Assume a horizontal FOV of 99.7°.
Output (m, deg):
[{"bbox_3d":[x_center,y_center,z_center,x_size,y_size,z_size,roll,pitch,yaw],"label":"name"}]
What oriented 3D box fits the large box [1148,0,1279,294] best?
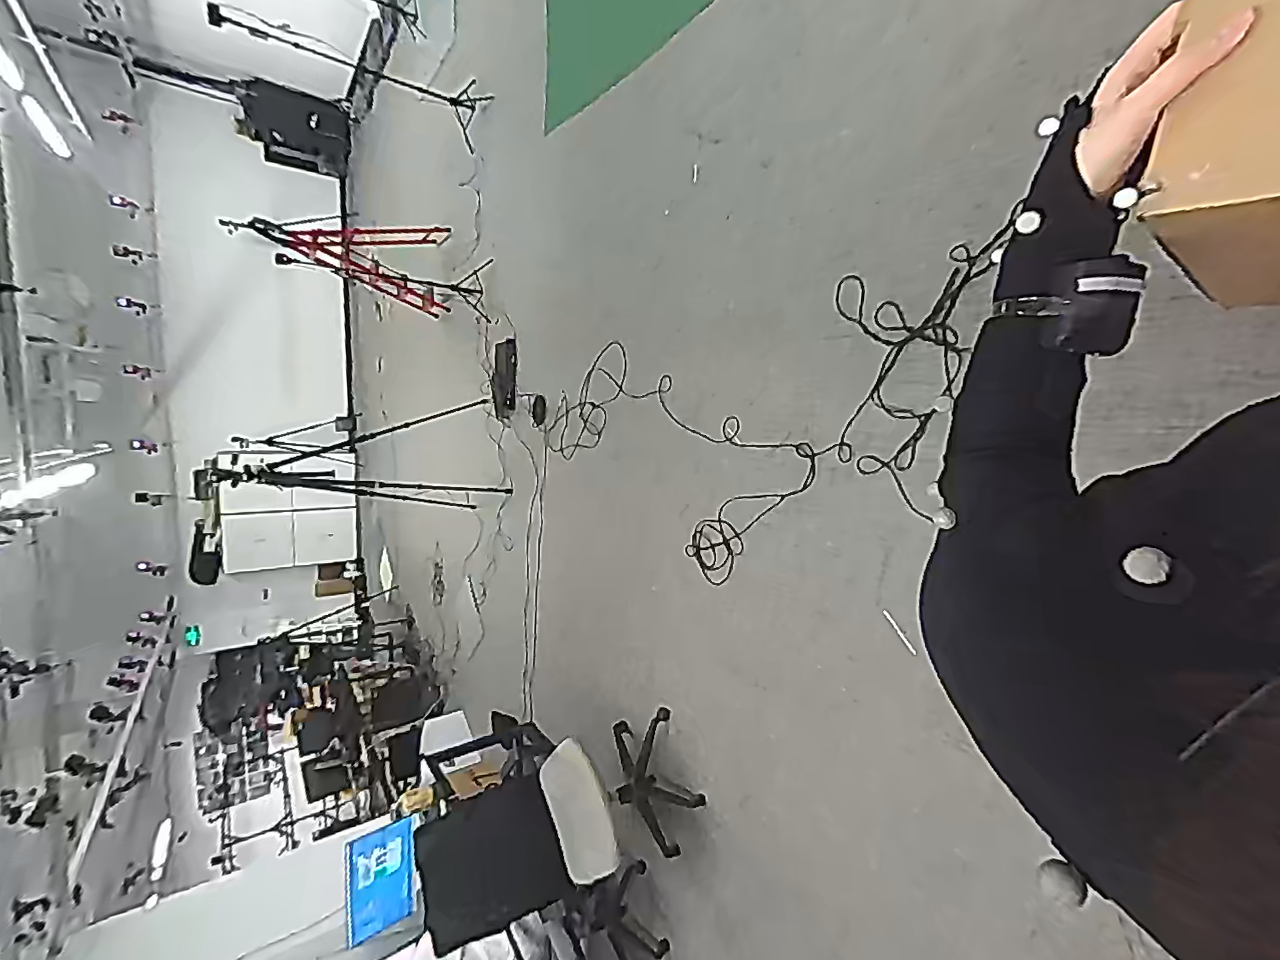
[{"bbox_3d":[0.602,-0.296,0.277,0.408,0.320,0.320,19,105,54],"label":"large box"}]
